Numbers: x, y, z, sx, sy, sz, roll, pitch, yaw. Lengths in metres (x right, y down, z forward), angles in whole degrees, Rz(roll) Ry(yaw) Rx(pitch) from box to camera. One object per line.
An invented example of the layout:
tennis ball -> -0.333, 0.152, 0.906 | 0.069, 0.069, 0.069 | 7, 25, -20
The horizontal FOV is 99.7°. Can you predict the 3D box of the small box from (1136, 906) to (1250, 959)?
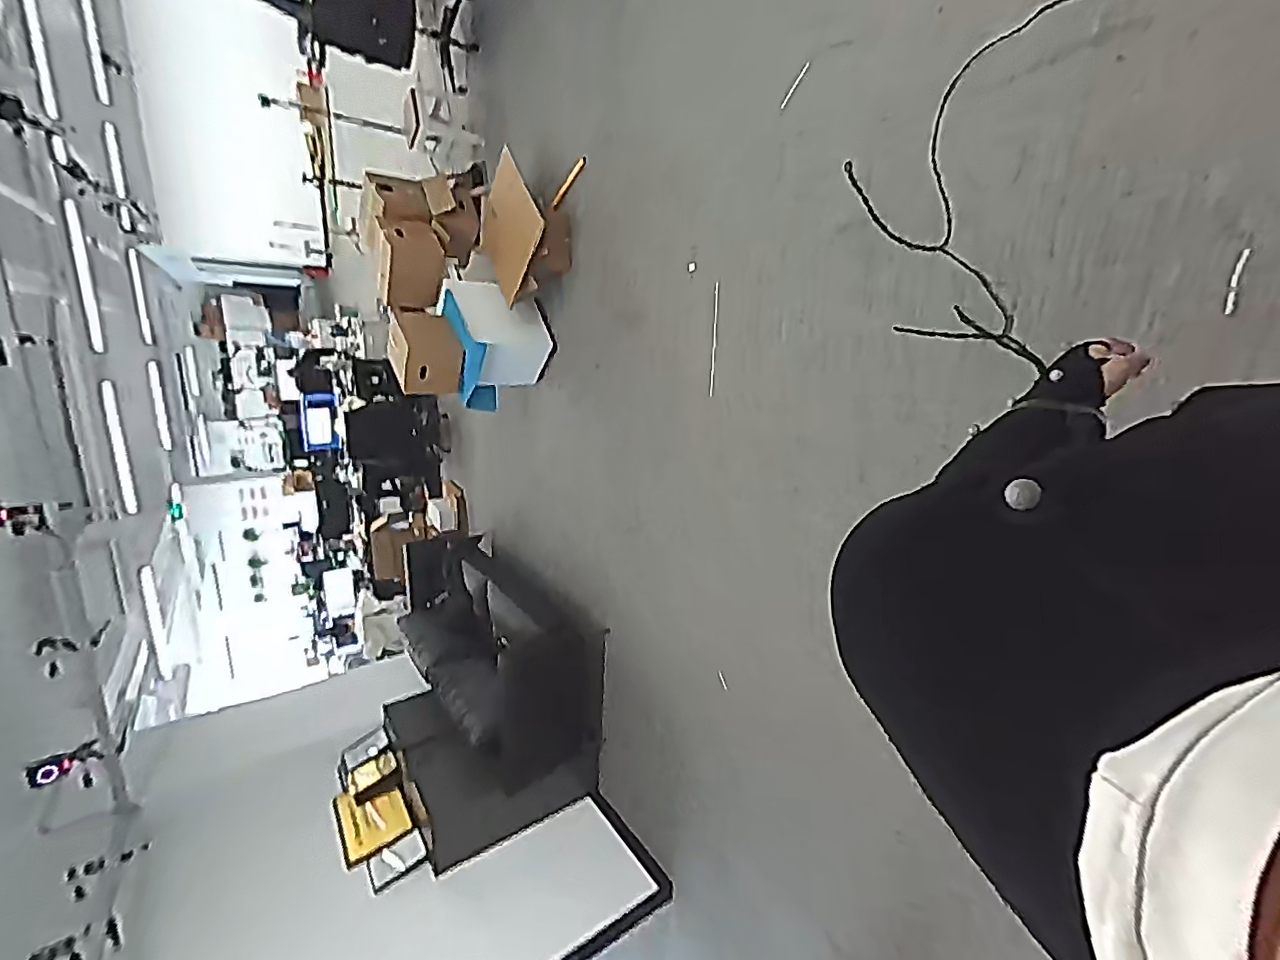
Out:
small box -> 1.077, 0.993, 1.048 | 0.168, 0.176, 0.179 | 22, 114, 51
